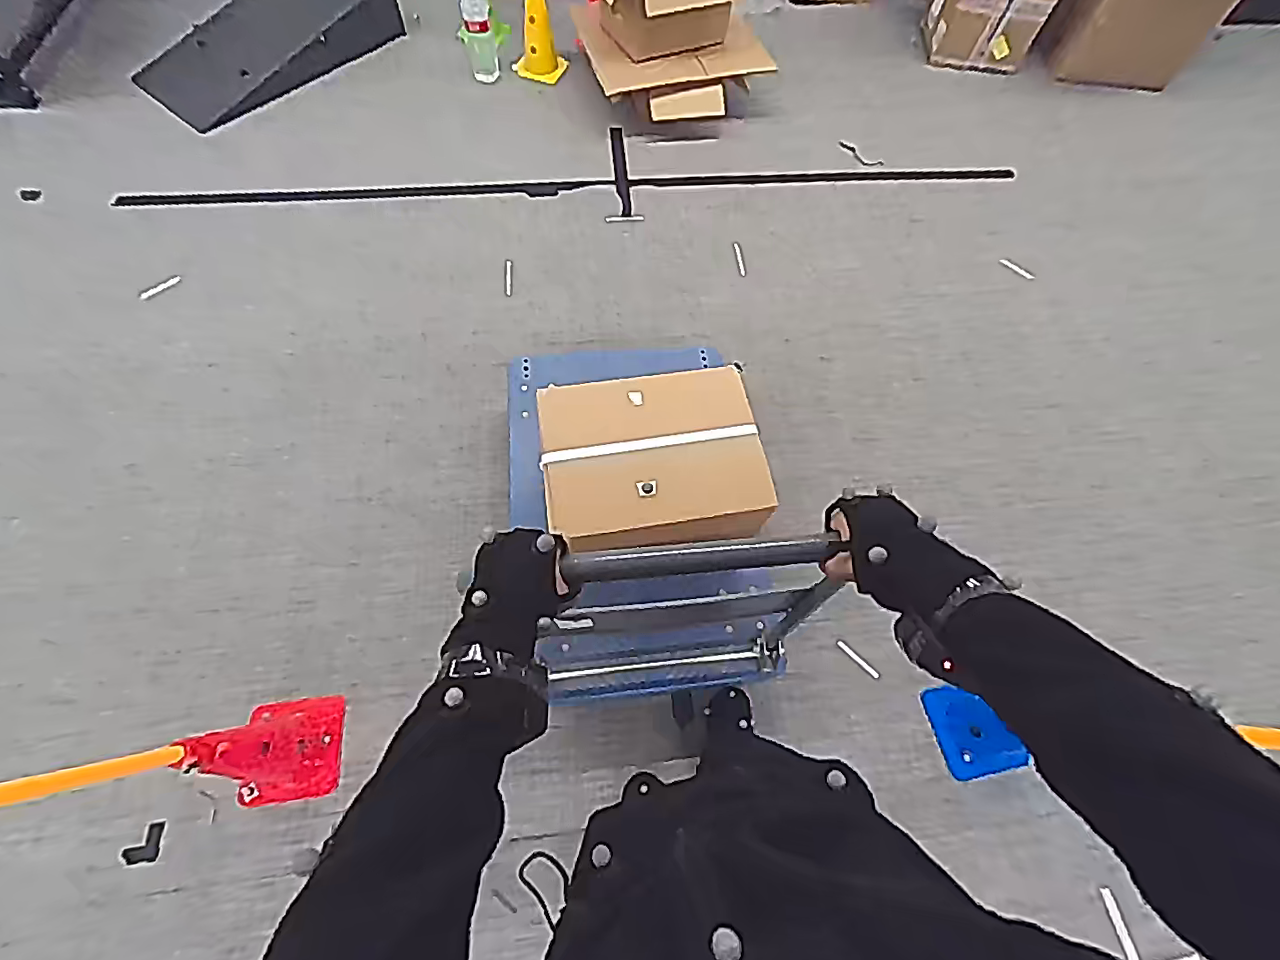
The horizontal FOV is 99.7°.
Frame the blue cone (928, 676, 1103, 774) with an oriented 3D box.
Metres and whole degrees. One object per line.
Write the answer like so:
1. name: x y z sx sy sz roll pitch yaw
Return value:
1. blue cone: 0.800 0.501 1.123 0.193 0.380 0.192 -8 64 -7
